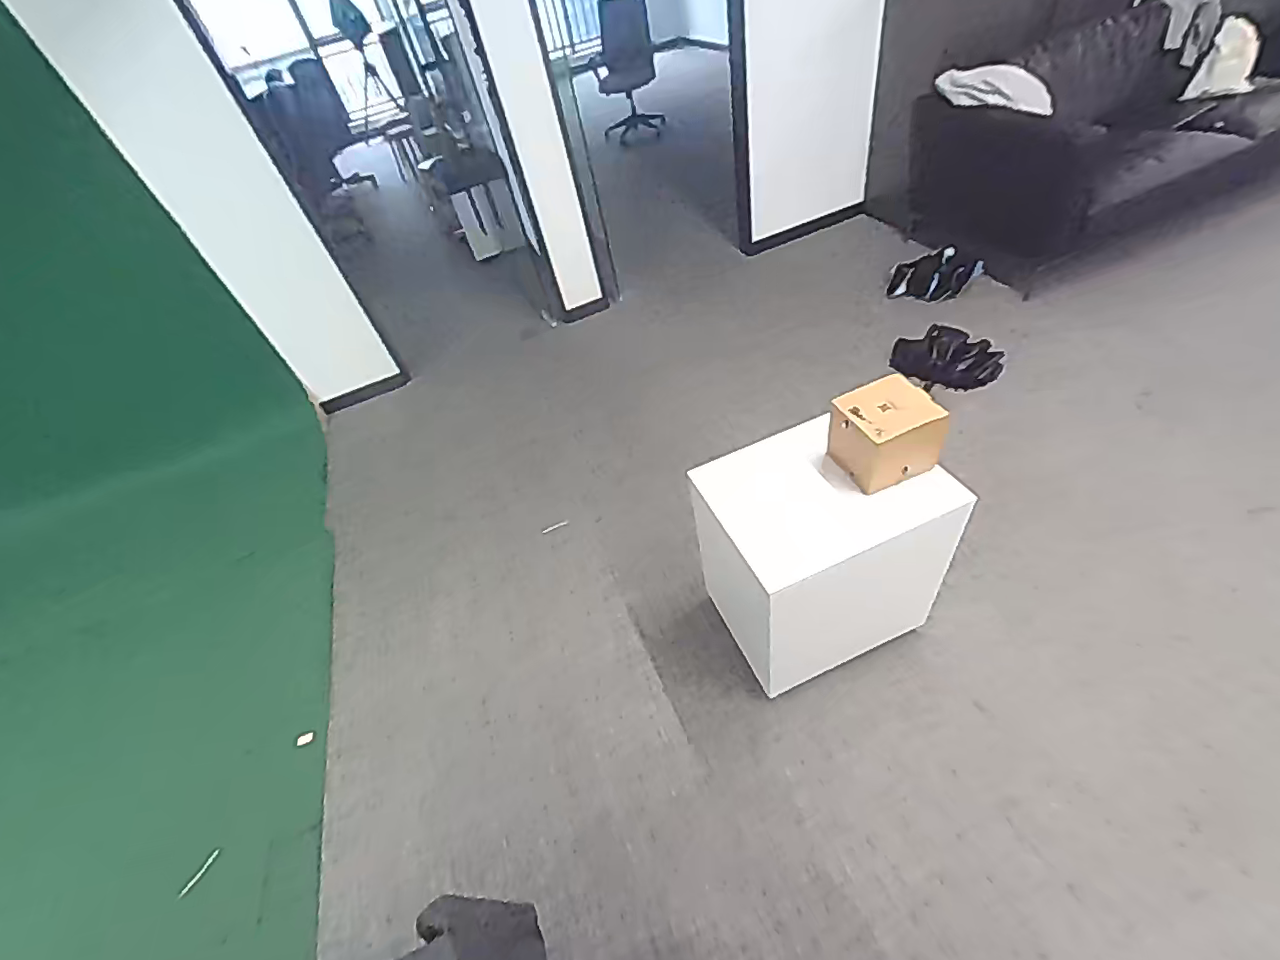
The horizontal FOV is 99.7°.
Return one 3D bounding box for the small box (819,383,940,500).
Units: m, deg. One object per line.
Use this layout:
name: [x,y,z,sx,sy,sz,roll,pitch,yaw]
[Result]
small box: [0.528,-0.085,1.223,0.179,0.176,0.168,-20,46,-9]
